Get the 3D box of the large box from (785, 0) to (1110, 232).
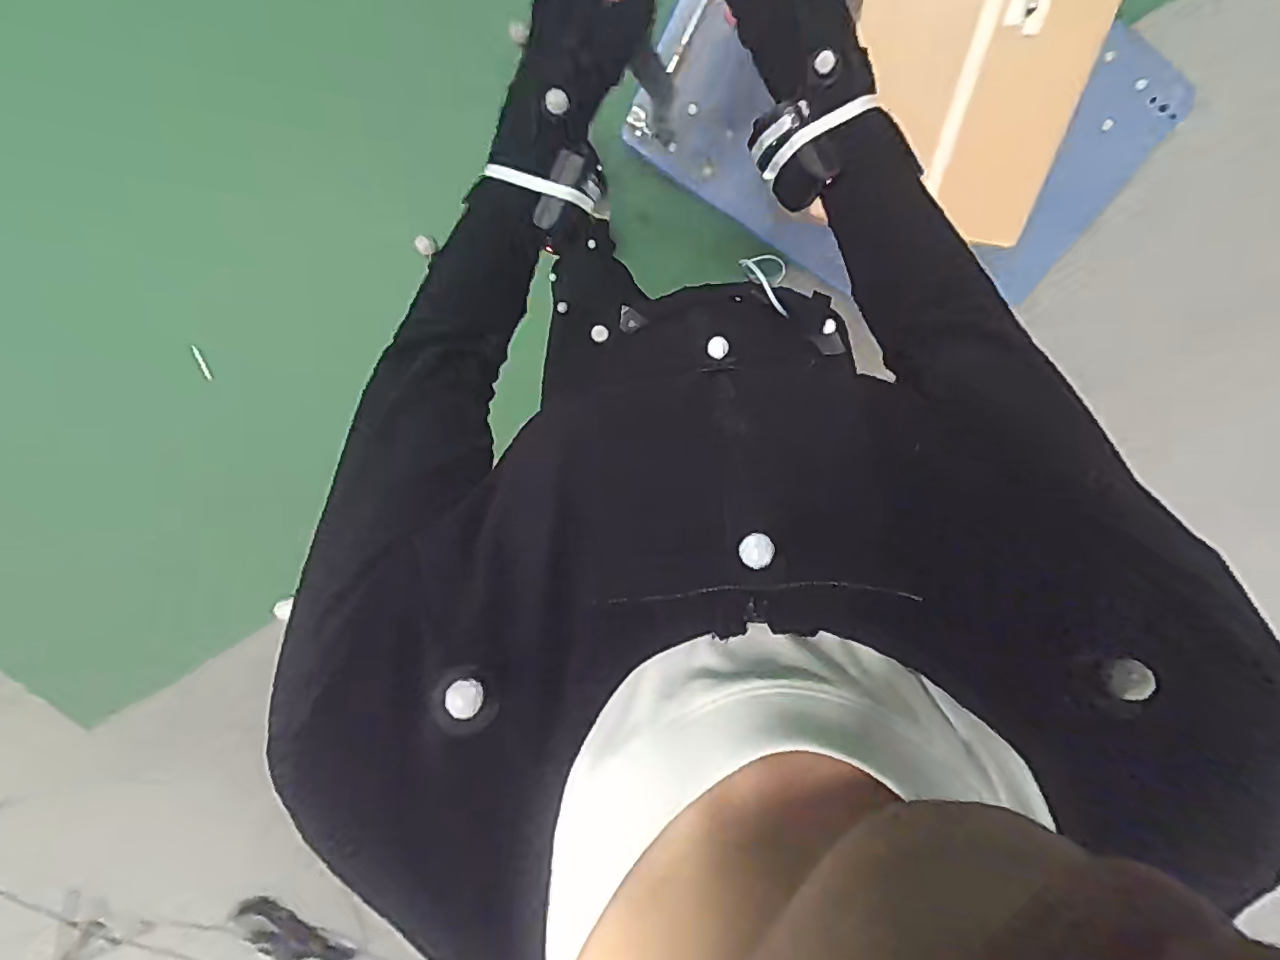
[{"bbox_3d":[0.442,-0.625,0.845,0.320,0.320,0.408,9,116,0],"label":"large box"}]
